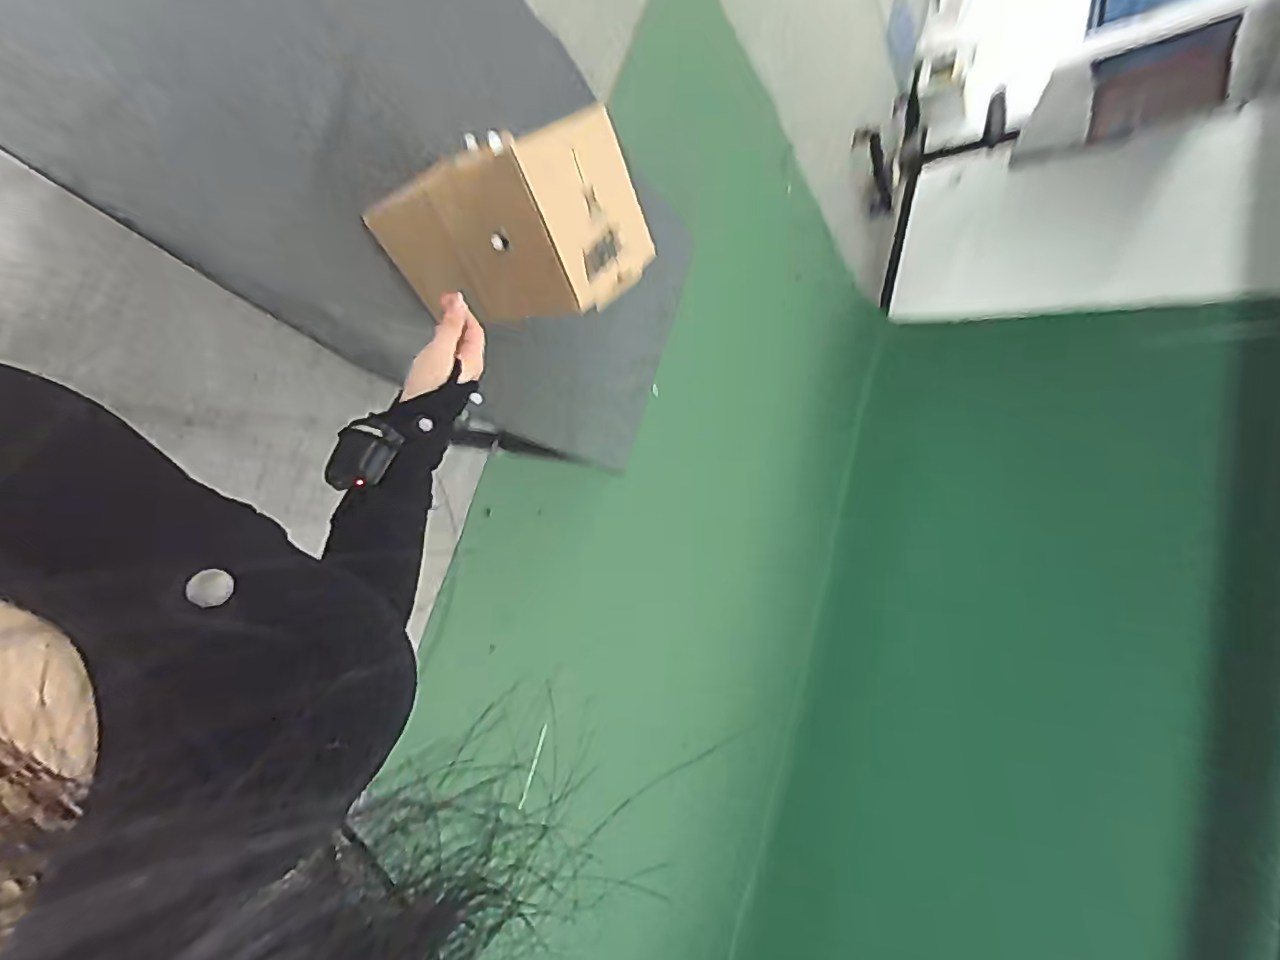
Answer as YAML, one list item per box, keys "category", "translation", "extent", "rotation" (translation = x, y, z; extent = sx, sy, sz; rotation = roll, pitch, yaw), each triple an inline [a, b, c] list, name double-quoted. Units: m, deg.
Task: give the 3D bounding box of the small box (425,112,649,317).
- category: "small box"
  translation: [-0.122, -0.313, 0.666]
  extent: [0.168, 0.176, 0.179]
  rotation: [-49, 130, -35]
